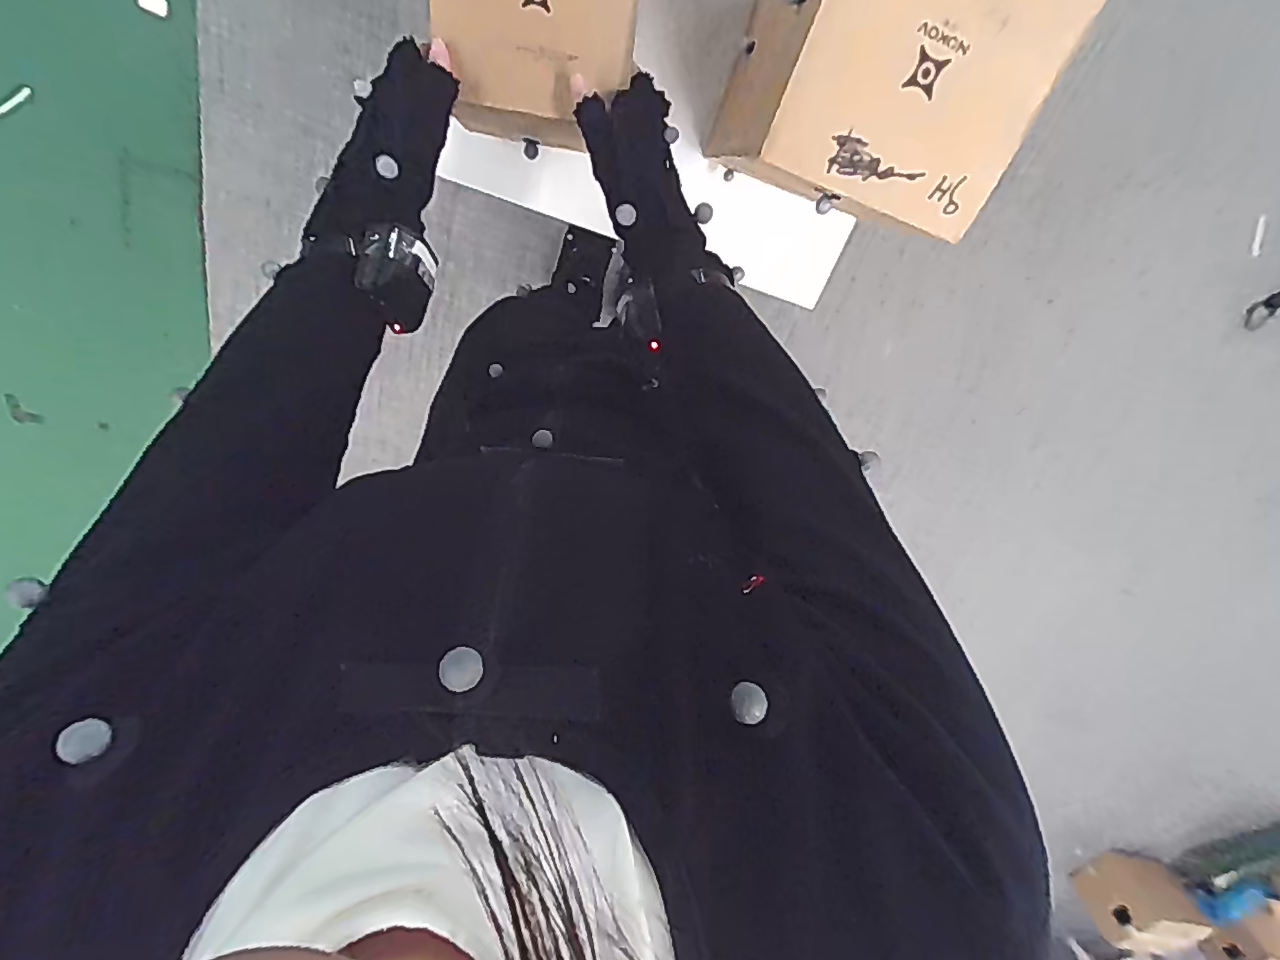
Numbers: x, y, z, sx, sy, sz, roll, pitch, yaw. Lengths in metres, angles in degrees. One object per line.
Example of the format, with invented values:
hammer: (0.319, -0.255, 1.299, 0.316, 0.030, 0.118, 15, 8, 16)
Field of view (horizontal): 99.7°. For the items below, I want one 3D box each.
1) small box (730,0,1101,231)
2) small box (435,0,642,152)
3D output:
small box: (0.180, -0.311, 0.401, 0.168, 0.176, 0.179, 15, 119, -11)
small box: (-0.085, -0.425, 0.501, 0.168, 0.176, 0.179, 4, 114, -5)
